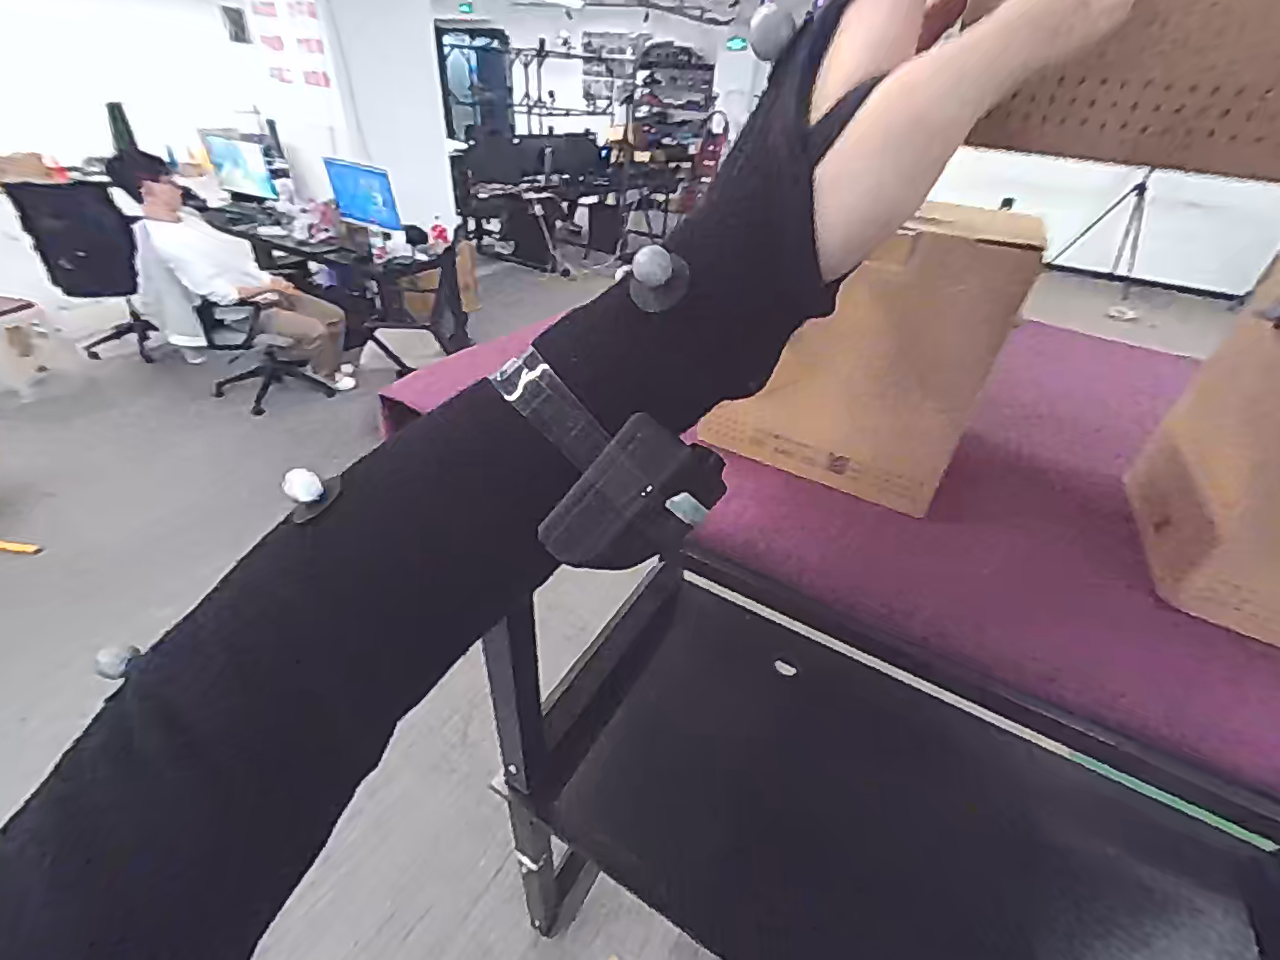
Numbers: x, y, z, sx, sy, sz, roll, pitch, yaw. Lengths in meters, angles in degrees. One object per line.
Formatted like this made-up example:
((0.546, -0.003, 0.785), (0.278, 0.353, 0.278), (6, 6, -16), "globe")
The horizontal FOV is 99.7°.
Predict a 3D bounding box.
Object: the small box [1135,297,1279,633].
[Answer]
((0.415, -0.005, 0.276), (0.179, 0.176, 0.168), (23, 38, 23), "small box")

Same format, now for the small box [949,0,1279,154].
((0.225, -0.223, 0.163), (0.179, 0.176, 0.168), (23, 61, 21), "small box")
